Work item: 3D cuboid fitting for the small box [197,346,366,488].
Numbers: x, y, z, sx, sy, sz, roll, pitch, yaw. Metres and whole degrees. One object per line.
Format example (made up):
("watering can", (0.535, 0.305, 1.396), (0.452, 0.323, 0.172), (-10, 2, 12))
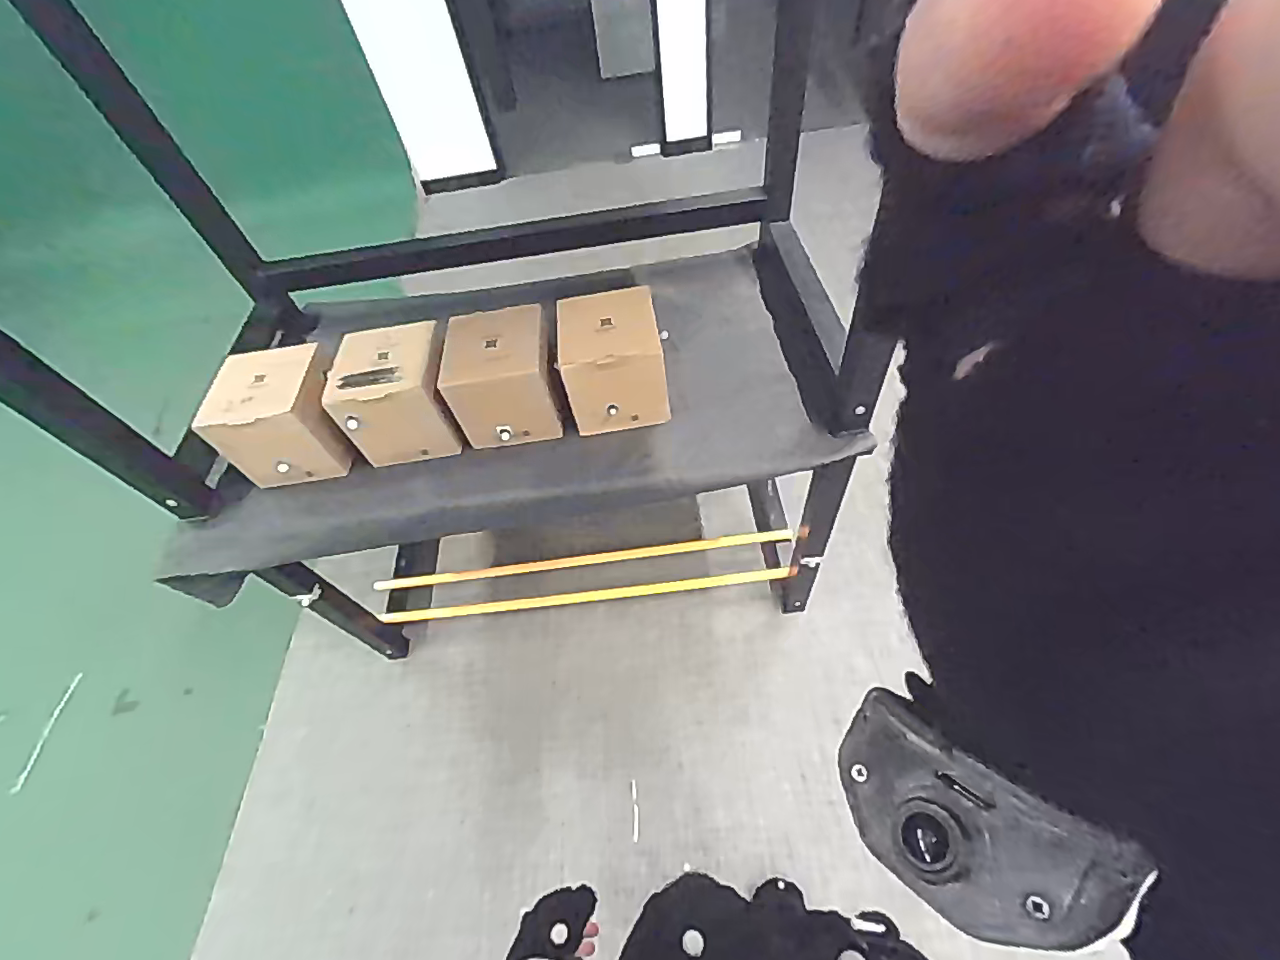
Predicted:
("small box", (-0.619, -0.110, 0.964), (0.168, 0.176, 0.179), (-8, 53, 2))
